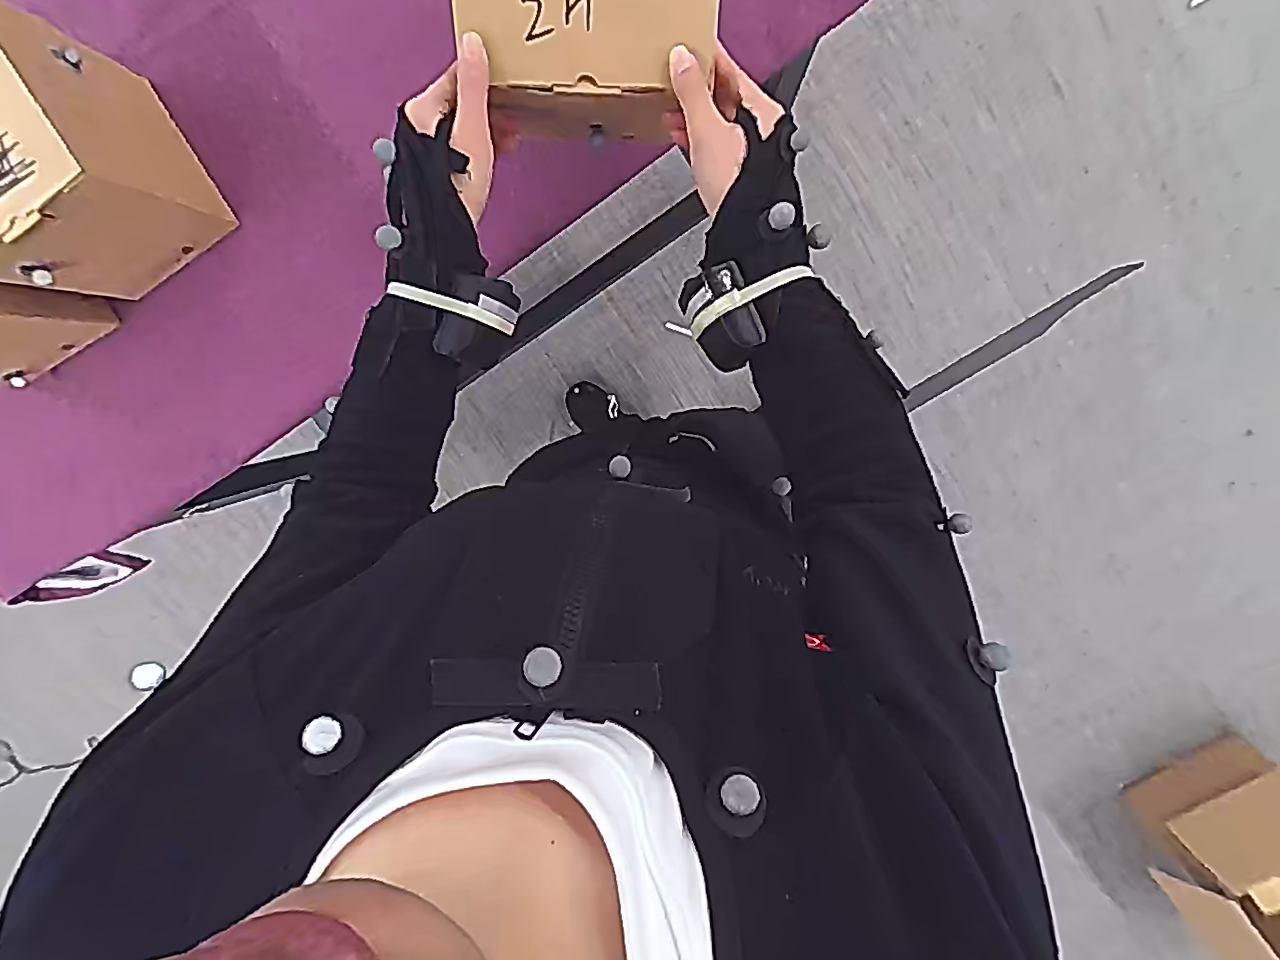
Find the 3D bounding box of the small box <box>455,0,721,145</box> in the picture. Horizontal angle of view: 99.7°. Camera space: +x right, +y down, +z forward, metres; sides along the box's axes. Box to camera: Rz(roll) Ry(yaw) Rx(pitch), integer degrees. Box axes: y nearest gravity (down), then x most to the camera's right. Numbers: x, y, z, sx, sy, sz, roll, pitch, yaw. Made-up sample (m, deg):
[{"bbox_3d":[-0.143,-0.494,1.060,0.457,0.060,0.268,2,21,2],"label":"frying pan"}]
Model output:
[{"bbox_3d":[-0.030,-0.363,0.389,0.168,0.176,0.179,2,112,0],"label":"small box"}]
